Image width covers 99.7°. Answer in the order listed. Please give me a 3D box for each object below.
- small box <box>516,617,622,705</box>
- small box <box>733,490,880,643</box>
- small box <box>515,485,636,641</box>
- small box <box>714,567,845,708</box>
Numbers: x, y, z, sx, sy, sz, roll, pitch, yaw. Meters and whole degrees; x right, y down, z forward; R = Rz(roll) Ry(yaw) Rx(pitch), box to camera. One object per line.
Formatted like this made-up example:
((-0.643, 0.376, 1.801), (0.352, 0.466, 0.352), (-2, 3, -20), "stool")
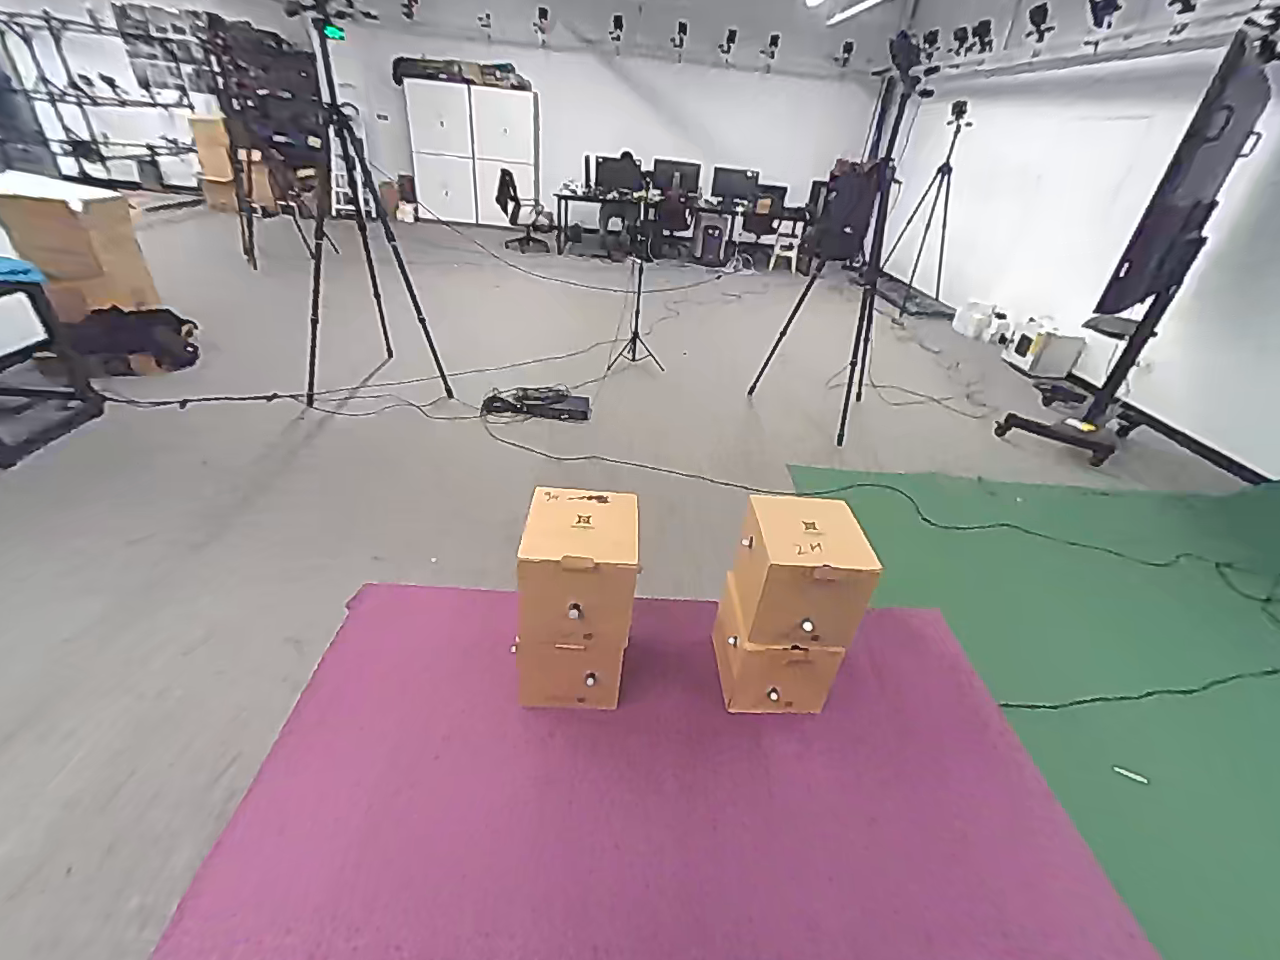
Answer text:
((-0.114, 0.265, 0.933), (0.168, 0.176, 0.179), (4, 33, -4), "small box")
((0.254, 0.137, 0.878), (0.168, 0.176, 0.179), (3, 34, -3), "small box")
((-0.094, 0.129, 0.841), (0.168, 0.176, 0.179), (5, 34, -4), "small box")
((0.235, 0.278, 0.962), (0.168, 0.176, 0.179), (2, 34, -5), "small box")
